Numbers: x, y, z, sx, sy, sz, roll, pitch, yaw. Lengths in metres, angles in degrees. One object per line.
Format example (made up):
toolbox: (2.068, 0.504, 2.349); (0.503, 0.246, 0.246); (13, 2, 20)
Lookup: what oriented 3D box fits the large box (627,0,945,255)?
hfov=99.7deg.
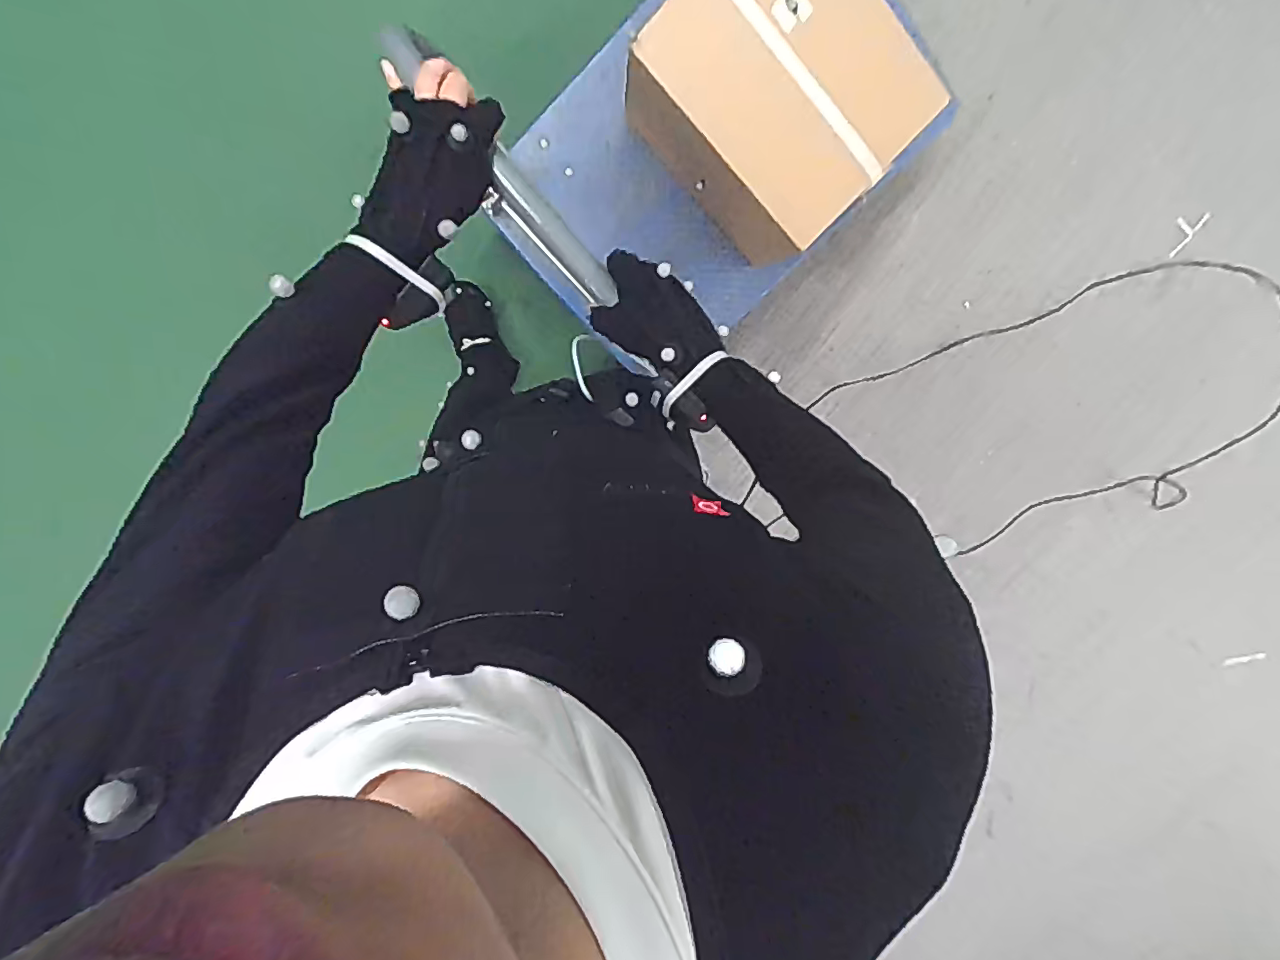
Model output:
large box: (0.223, -0.672, 0.958); (0.408, 0.320, 0.320); (43, 100, -14)
